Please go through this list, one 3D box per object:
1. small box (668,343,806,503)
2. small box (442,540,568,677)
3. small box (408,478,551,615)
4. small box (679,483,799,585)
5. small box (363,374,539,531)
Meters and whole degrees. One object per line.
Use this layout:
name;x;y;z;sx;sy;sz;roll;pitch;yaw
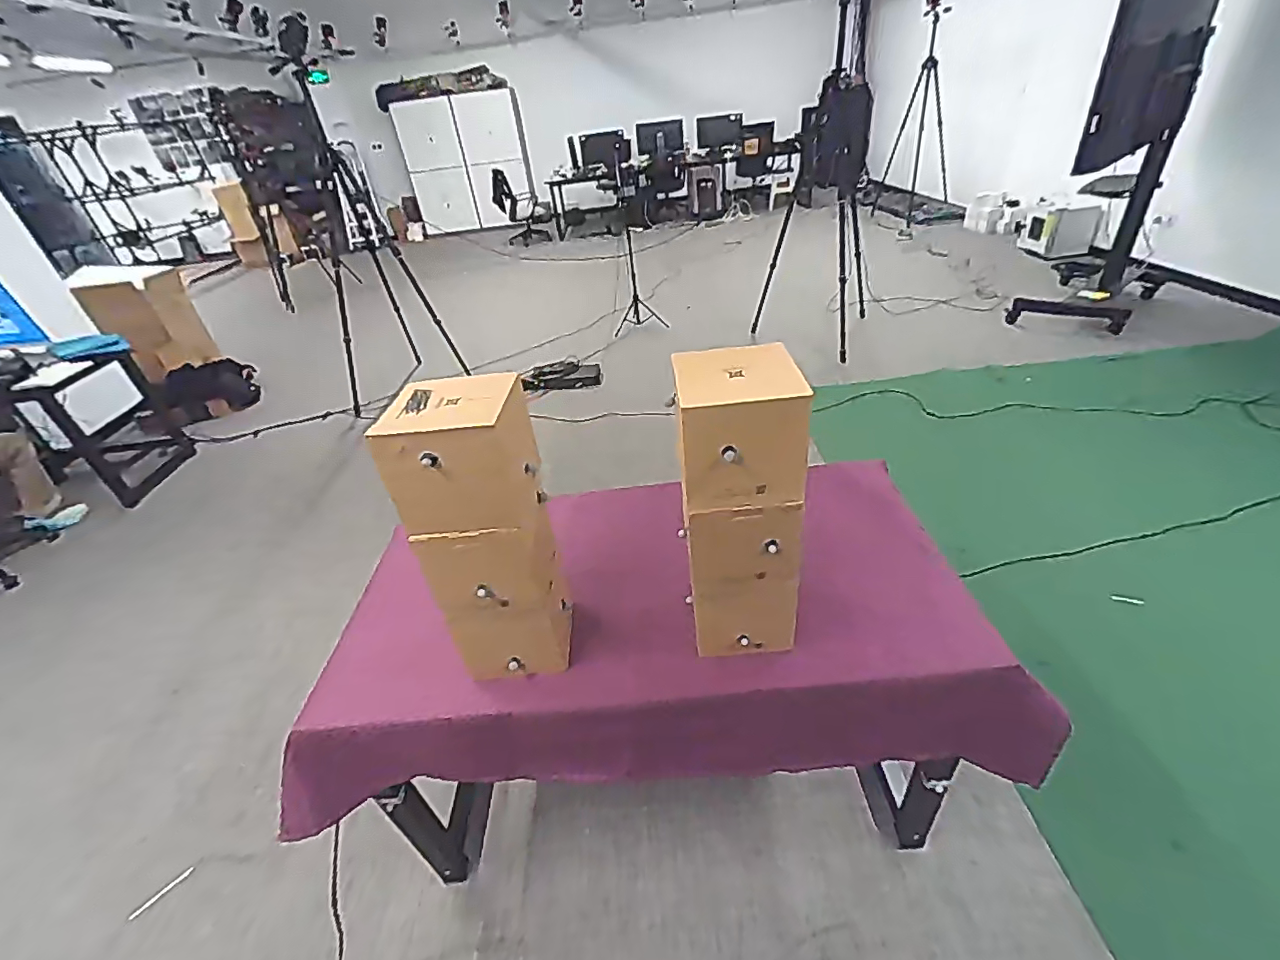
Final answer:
small box;0.133;-0.078;0.777;0.168;0.176;0.179;-6;35;2
small box;-0.229;0.232;0.978;0.179;0.176;0.168;-7;35;1
small box;-0.247;0.095;0.887;0.168;0.176;0.179;-7;35;3
small box;0.152;0.054;0.870;0.168;0.176;0.179;-6;35;2
small box;-0.260;-0.039;0.793;0.179;0.176;0.168;-5;35;3
